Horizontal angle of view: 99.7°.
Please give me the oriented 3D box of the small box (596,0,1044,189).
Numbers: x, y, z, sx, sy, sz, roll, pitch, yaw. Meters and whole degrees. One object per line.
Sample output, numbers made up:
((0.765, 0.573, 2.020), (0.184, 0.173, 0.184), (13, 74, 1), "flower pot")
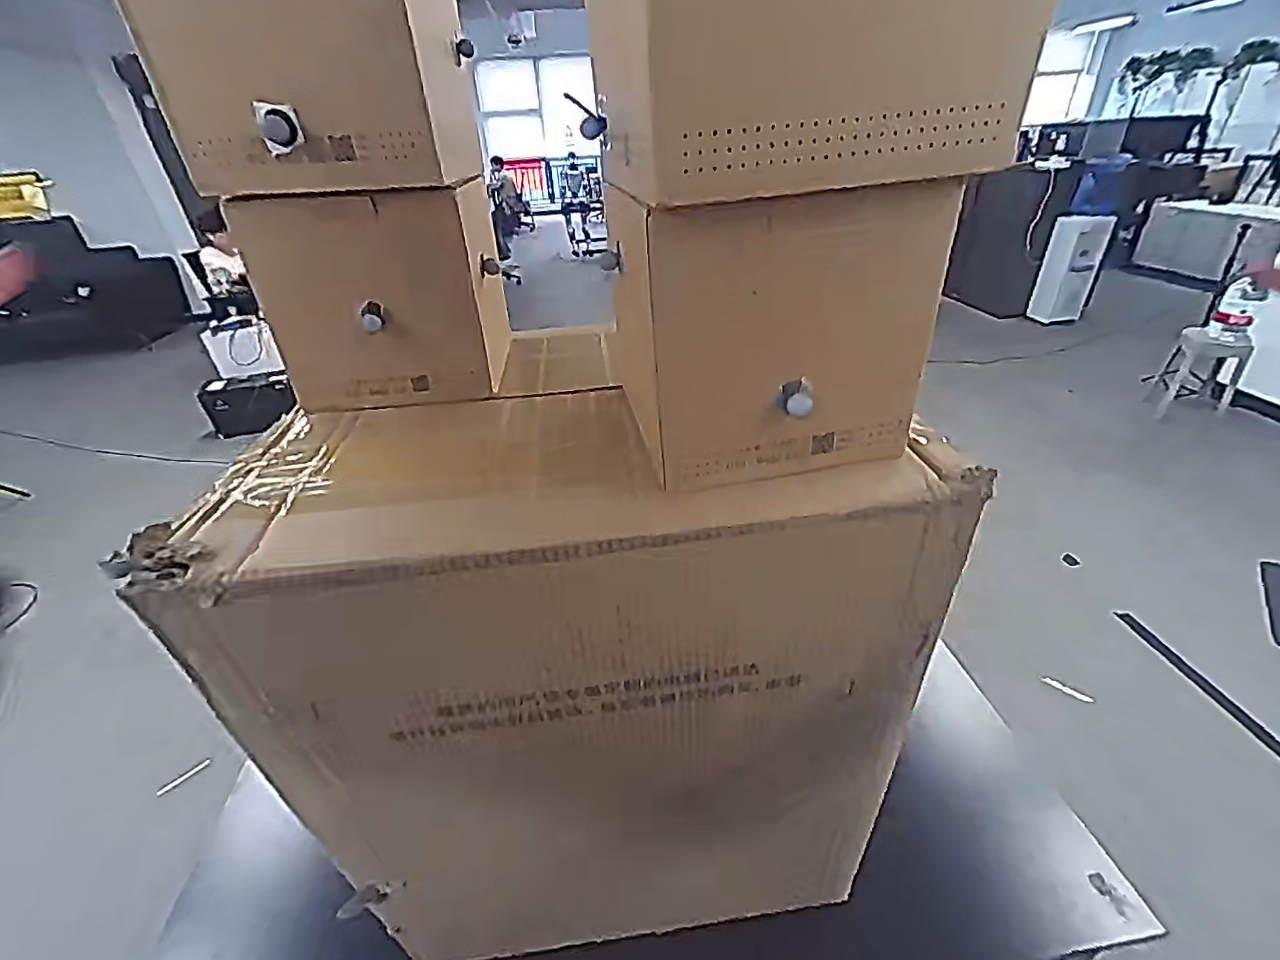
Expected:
((0.072, -0.246, 0.262), (0.179, 0.176, 0.168), (-10, 34, -8), "small box")

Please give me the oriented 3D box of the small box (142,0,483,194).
((-0.220, -0.309, 0.393), (0.168, 0.176, 0.179), (-6, 33, -3), "small box")

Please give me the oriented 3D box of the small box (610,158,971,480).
((0.076, -0.122, 0.372), (0.168, 0.176, 0.179), (-10, 34, -6), "small box")

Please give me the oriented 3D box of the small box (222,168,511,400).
((-0.217, -0.180, 0.494), (0.168, 0.176, 0.179), (-6, 33, -5), "small box")
